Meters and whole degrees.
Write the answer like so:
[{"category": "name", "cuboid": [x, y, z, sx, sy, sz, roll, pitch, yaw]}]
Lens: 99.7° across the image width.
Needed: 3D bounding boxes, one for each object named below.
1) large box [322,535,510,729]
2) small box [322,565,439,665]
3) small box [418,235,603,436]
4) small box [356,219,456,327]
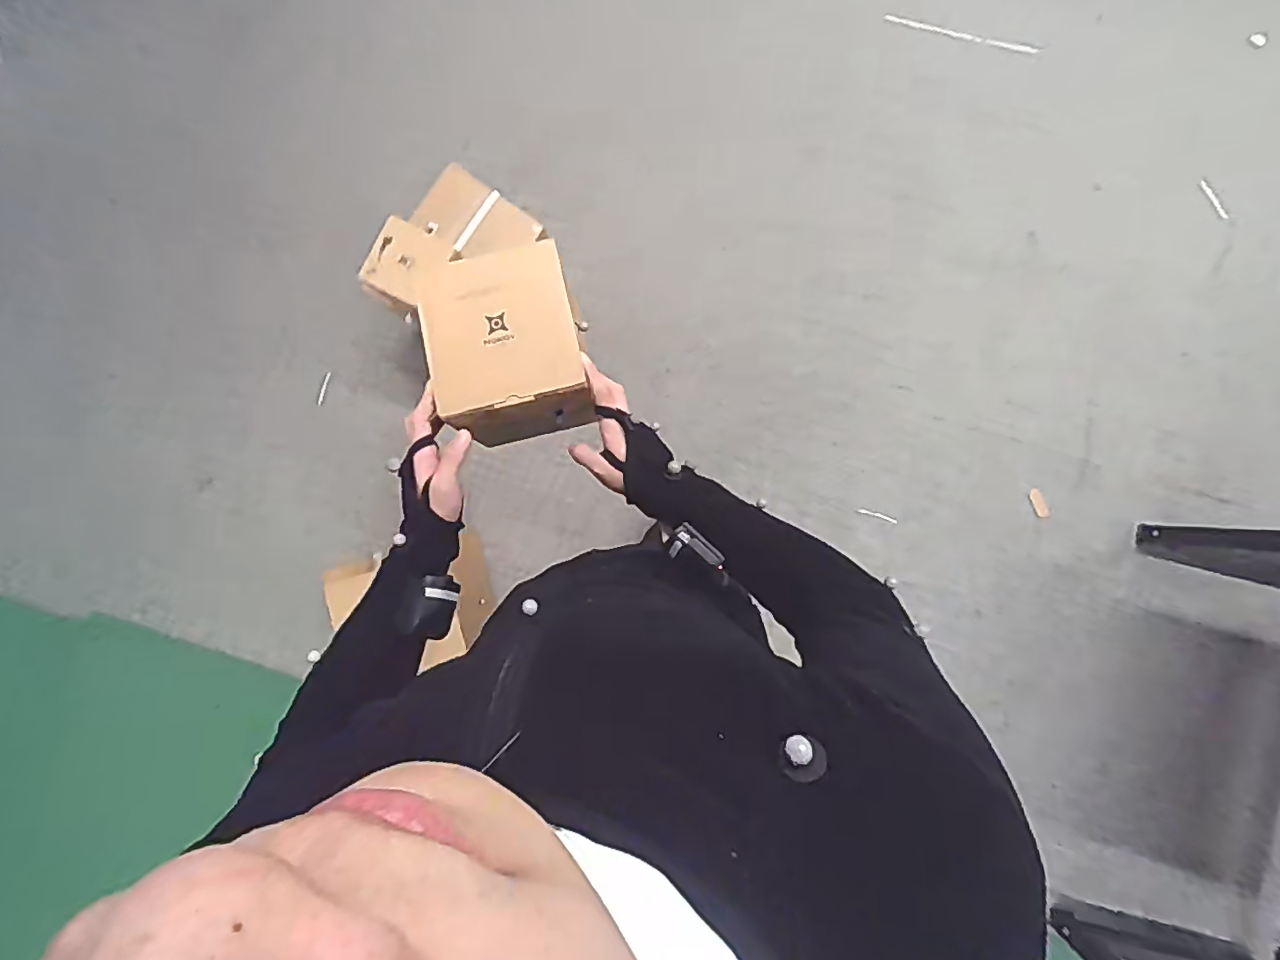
[{"category": "large box", "cuboid": [-0.595, 0.393, 1.495, 0.320, 0.320, 0.408, -17, 87, 2]}, {"category": "small box", "cuboid": [-0.592, 0.301, 1.252, 0.168, 0.176, 0.179, -17, 87, 0]}, {"category": "small box", "cuboid": [-0.146, -0.160, 0.662, 0.168, 0.176, 0.179, -12, 82, 0]}, {"category": "small box", "cuboid": [-0.527, -0.477, 1.296, 0.179, 0.176, 0.168, 27, 87, 1]}]
